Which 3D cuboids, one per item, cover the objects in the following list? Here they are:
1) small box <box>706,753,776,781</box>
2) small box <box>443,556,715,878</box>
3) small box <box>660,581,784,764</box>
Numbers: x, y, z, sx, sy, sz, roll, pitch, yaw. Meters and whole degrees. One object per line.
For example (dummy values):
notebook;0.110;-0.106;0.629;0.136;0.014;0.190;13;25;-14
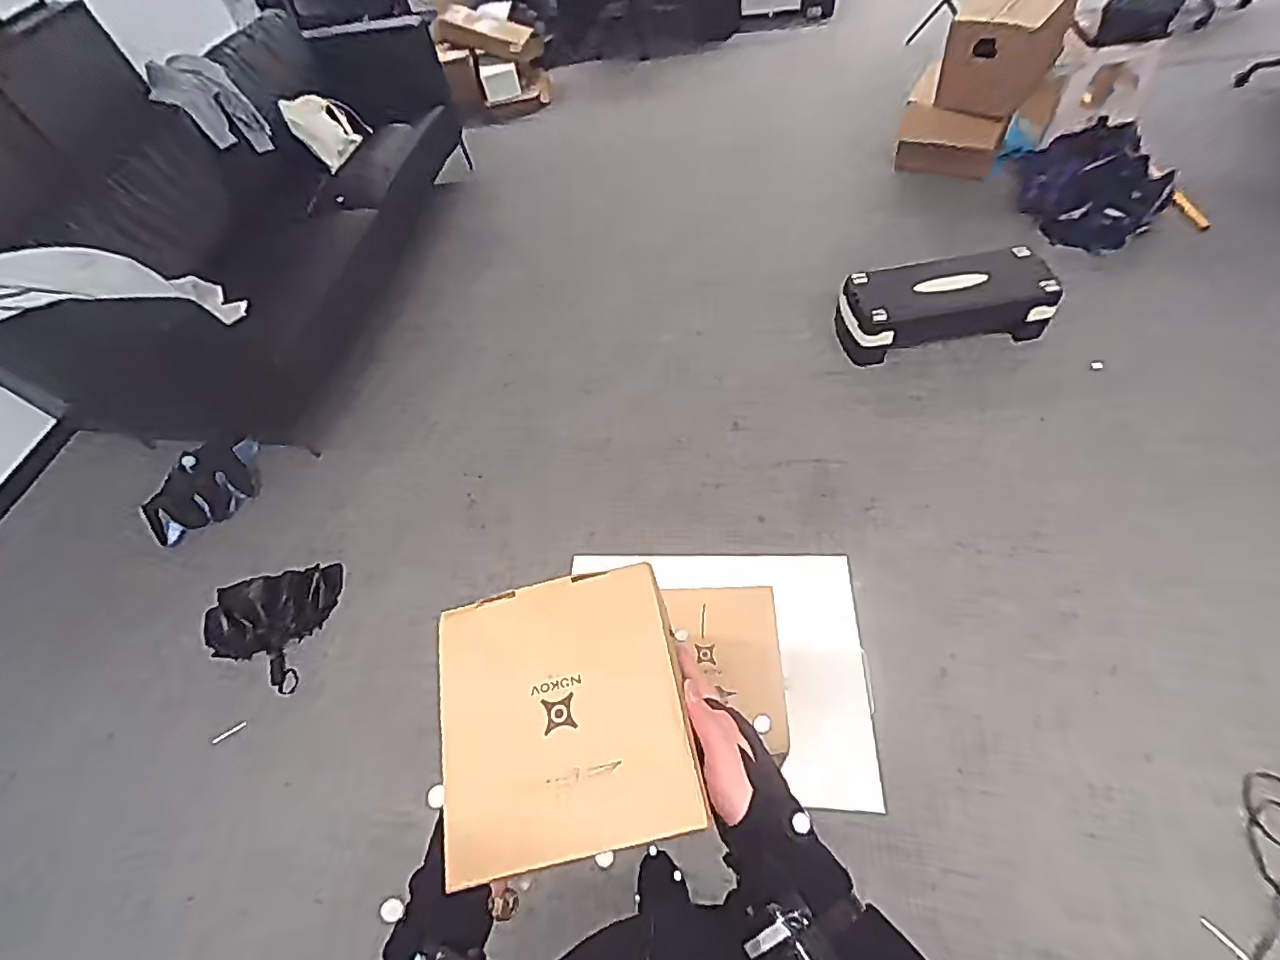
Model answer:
small box;0.100;0.331;0.790;0.168;0.176;0.179;-5;56;7
small box;-0.042;0.187;0.437;0.168;0.176;0.179;-15;62;1
small box;0.077;0.238;0.655;0.168;0.176;0.179;-3;54;7
